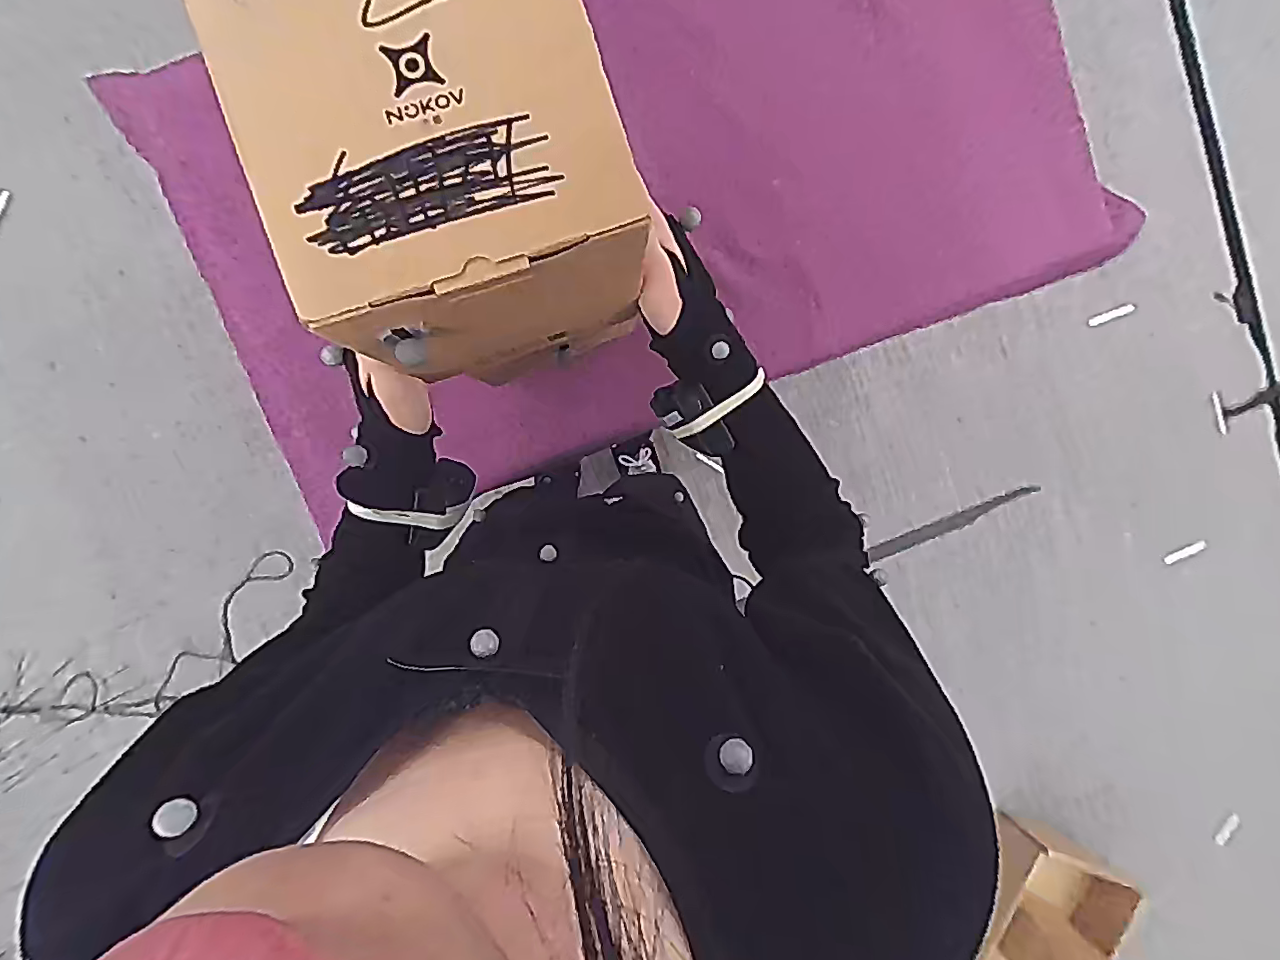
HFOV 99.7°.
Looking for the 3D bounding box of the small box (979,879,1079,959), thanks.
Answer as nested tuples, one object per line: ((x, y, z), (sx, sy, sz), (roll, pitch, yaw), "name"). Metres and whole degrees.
((1.213, 1.394, 1.679), (0.179, 0.176, 0.168), (24, 93, -8), "small box")

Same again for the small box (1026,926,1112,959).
((1.235, 1.408, 1.519), (0.179, 0.176, 0.168), (20, 95, -9), "small box")

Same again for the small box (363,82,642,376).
((-0.110, -0.205, 0.500), (0.168, 0.176, 0.179), (-24, 98, -3), "small box")
